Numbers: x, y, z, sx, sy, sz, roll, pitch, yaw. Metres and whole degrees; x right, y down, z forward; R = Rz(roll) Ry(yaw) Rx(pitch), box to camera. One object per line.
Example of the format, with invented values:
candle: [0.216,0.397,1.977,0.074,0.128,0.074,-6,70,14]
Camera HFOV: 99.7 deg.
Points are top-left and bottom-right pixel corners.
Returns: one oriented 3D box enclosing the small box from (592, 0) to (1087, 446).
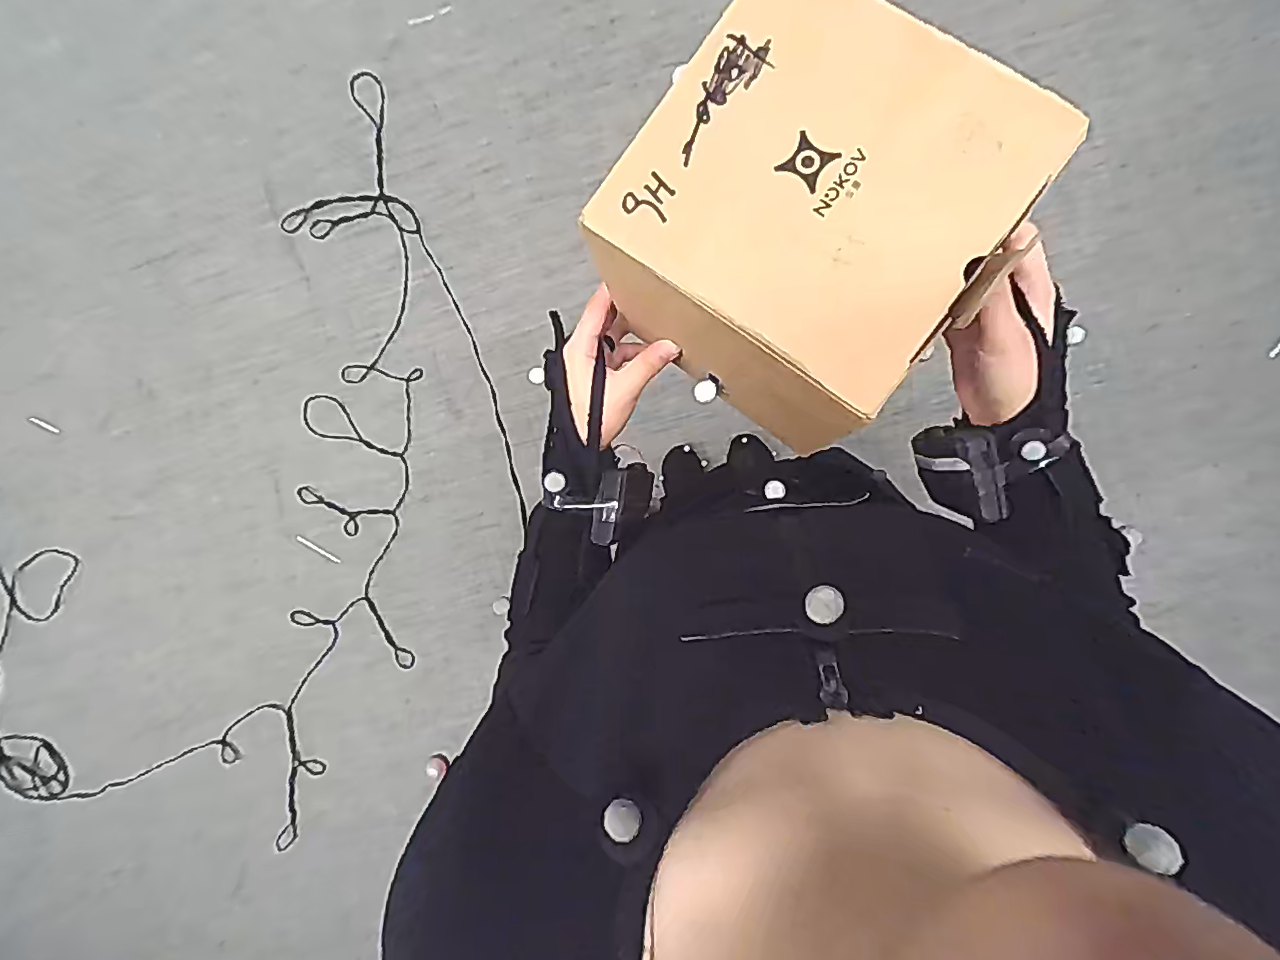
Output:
small box: [0.100,-0.135,0.340,0.179,0.176,0.168,38,91,7]
